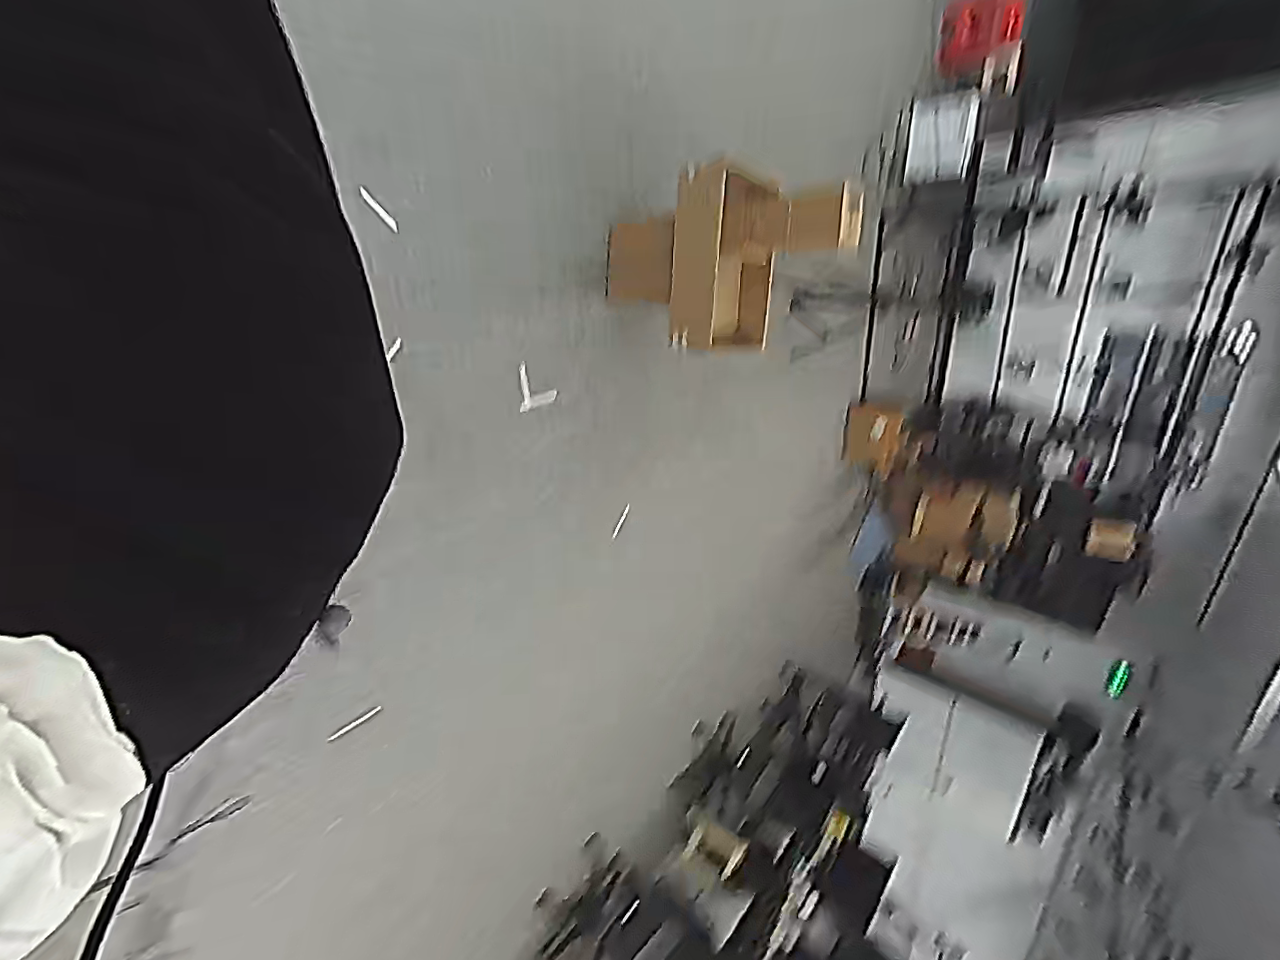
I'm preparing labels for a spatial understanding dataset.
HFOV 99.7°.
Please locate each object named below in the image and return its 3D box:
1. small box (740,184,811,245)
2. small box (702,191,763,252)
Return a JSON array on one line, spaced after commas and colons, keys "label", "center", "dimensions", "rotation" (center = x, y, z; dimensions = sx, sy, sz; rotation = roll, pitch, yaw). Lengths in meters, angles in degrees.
[{"label": "small box", "center": [0.459, -0.895, 1.834], "dimensions": [0.179, 0.176, 0.168], "rotation": [-24, 119, -45]}, {"label": "small box", "center": [0.334, -0.920, 1.938], "dimensions": [0.168, 0.176, 0.179], "rotation": [-20, 119, -45]}]
